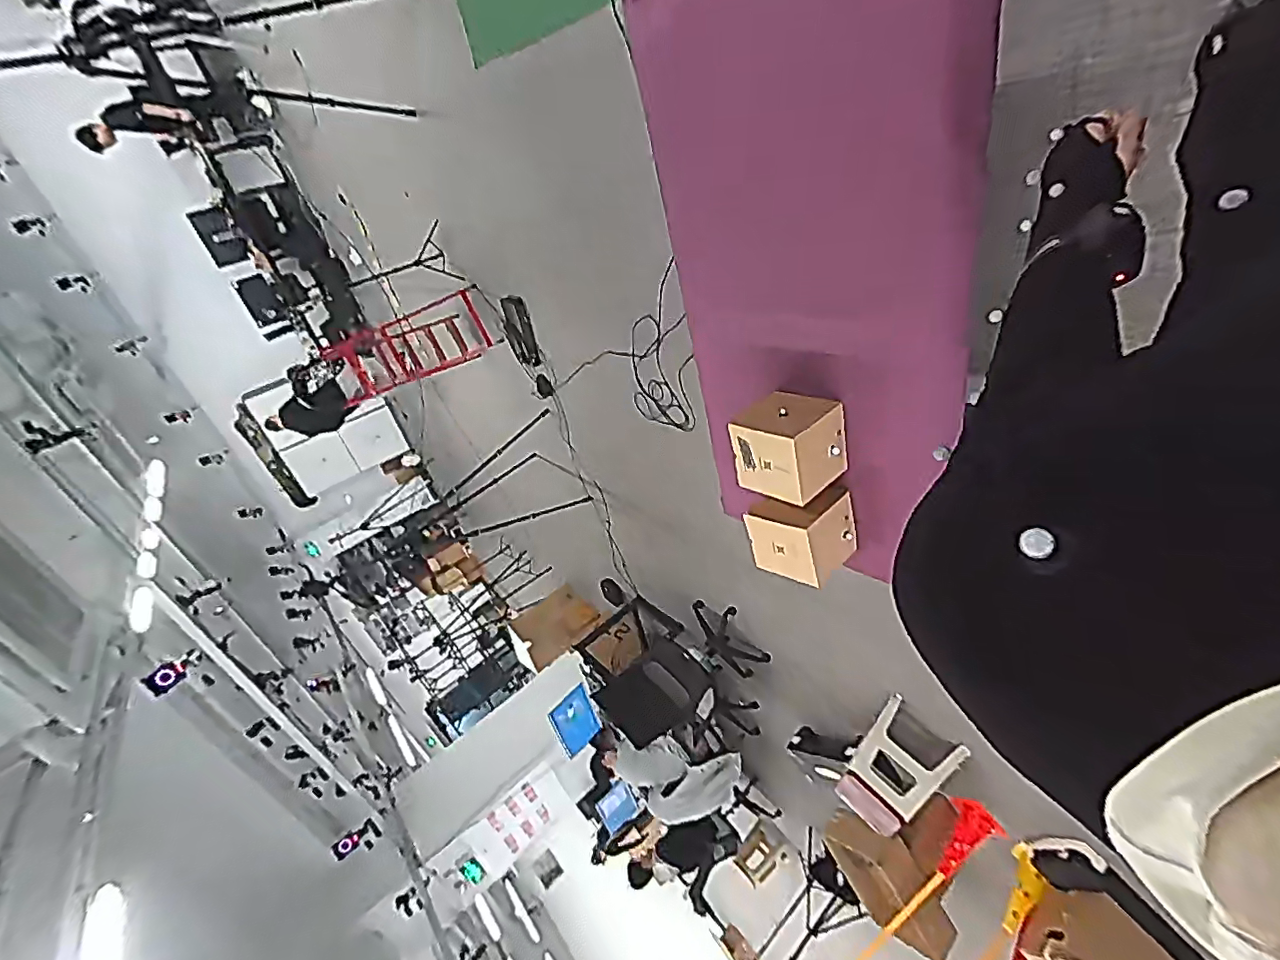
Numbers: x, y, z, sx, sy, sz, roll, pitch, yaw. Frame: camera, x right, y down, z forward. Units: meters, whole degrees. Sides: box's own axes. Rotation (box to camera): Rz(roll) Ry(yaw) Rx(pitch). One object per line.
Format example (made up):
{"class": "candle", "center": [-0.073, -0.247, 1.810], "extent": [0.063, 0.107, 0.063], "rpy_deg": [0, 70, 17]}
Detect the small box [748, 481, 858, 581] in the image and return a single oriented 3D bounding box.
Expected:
{"class": "small box", "center": [0.392, 0.107, 1.293], "extent": [0.179, 0.176, 0.168], "rpy_deg": [18, 135, 51]}

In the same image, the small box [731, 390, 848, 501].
{"class": "small box", "center": [0.329, -0.084, 1.185], "extent": [0.179, 0.176, 0.168], "rpy_deg": [22, 138, 48]}
